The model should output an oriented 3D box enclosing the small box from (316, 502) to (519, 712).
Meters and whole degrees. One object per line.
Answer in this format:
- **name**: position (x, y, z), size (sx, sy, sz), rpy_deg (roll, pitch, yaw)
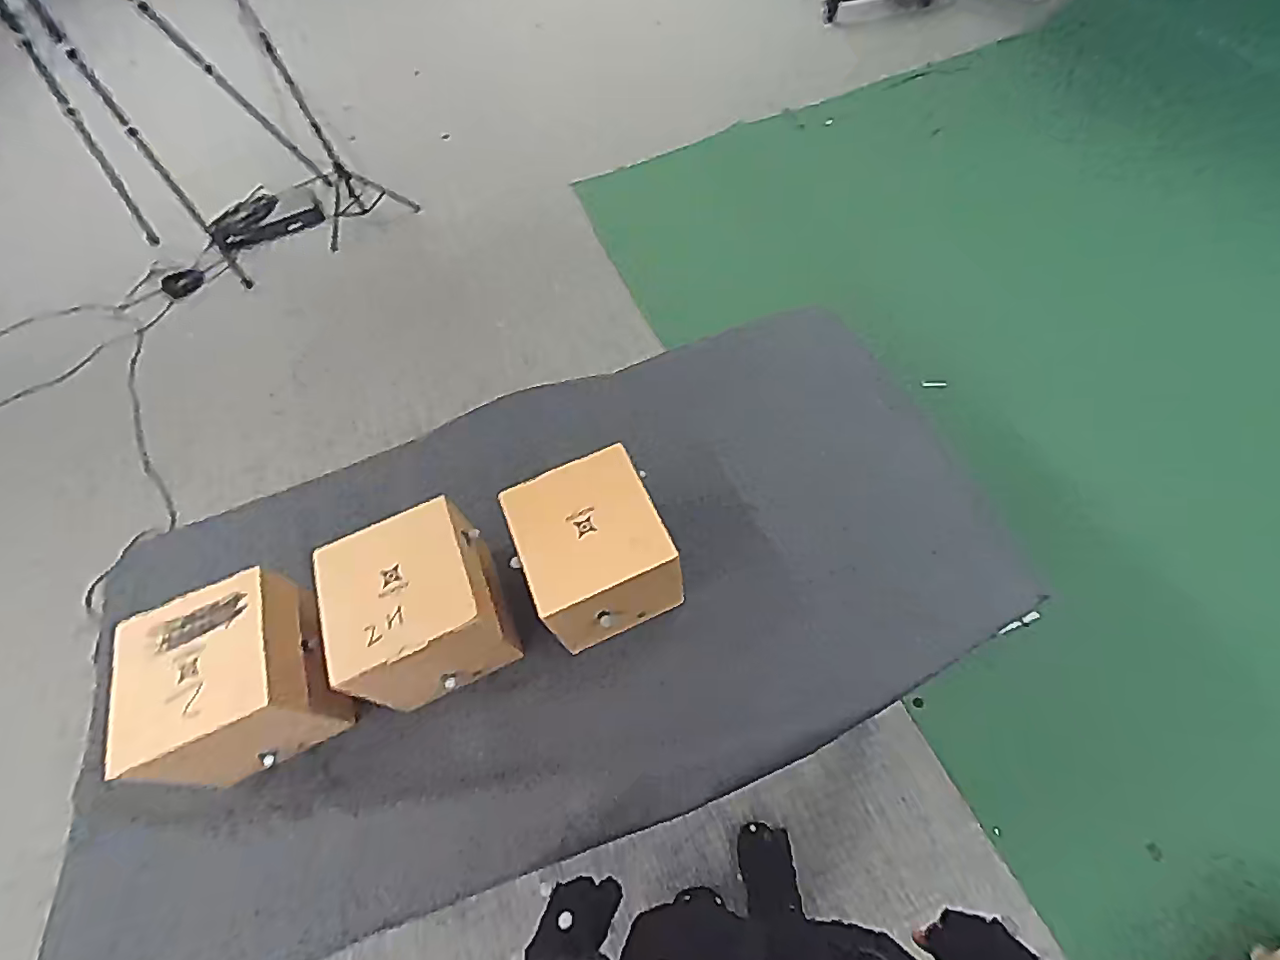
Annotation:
- **small box**: position (-0.272, 0.164, 0.680), size (0.168, 0.176, 0.179), rpy_deg (-24, 59, -8)
